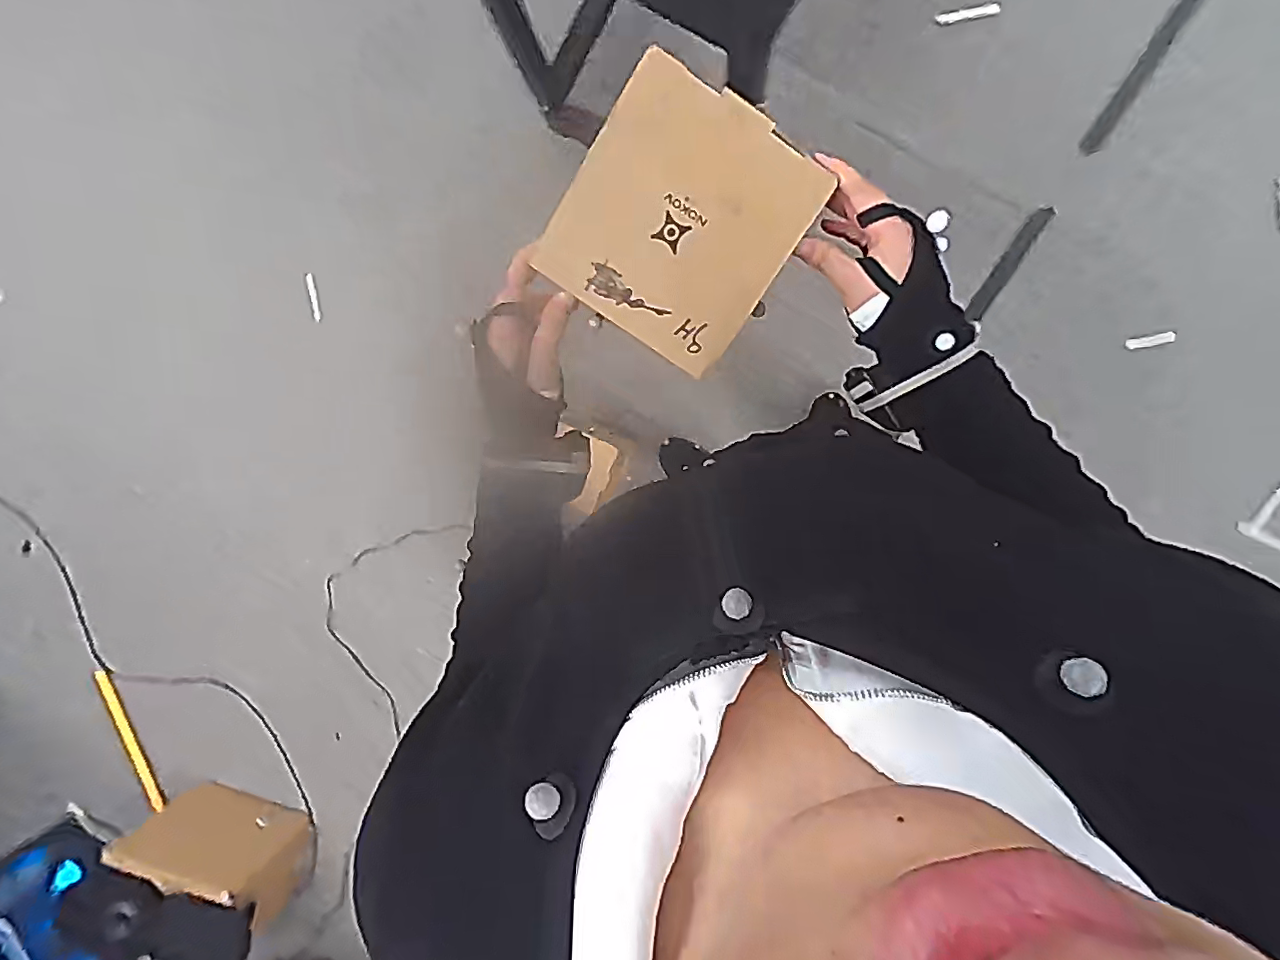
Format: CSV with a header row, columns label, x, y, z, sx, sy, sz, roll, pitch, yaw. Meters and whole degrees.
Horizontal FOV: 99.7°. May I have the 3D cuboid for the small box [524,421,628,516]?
label,x,y,z,sx,sy,sz,roll,pitch,yaw
small box,-0.143,-0.033,1.289,0.179,0.176,0.168,24,98,6

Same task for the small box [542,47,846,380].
label,x,y,z,sx,sy,sz,roll,pitch,yaw
small box,0.042,-0.209,0.481,0.168,0.176,0.179,35,103,-3

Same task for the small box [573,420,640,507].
label,x,y,z,sx,sy,sz,roll,pitch,yaw
small box,-0.116,-0.047,1.448,0.179,0.176,0.168,27,99,3
